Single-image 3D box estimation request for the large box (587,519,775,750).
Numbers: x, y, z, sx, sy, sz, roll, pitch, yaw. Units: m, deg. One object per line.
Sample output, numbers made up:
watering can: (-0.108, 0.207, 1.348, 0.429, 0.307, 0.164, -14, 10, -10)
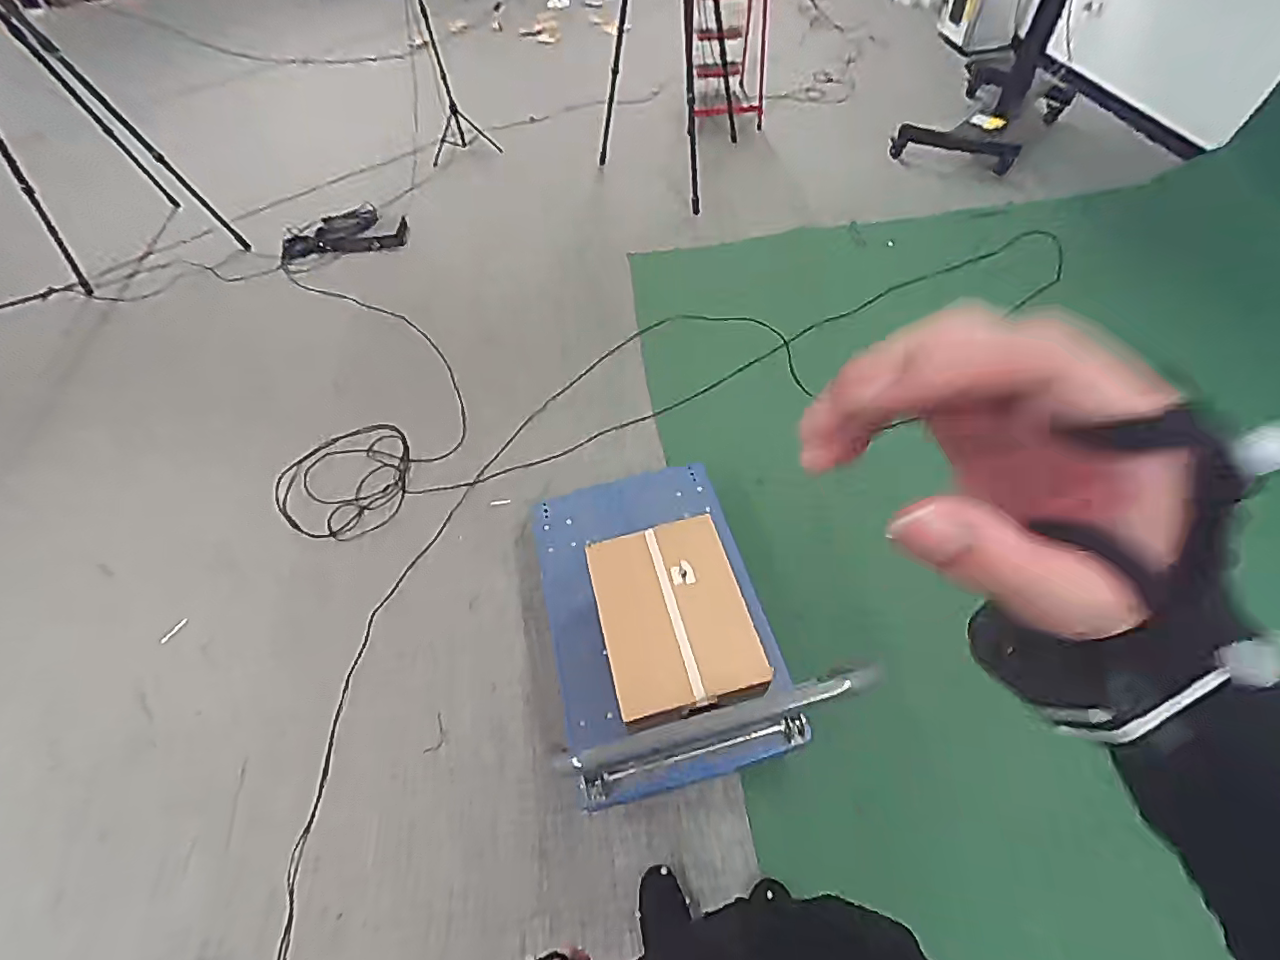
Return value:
large box: (0.086, 0.370, 1.295, 0.320, 0.320, 0.408, -14, 54, -6)
